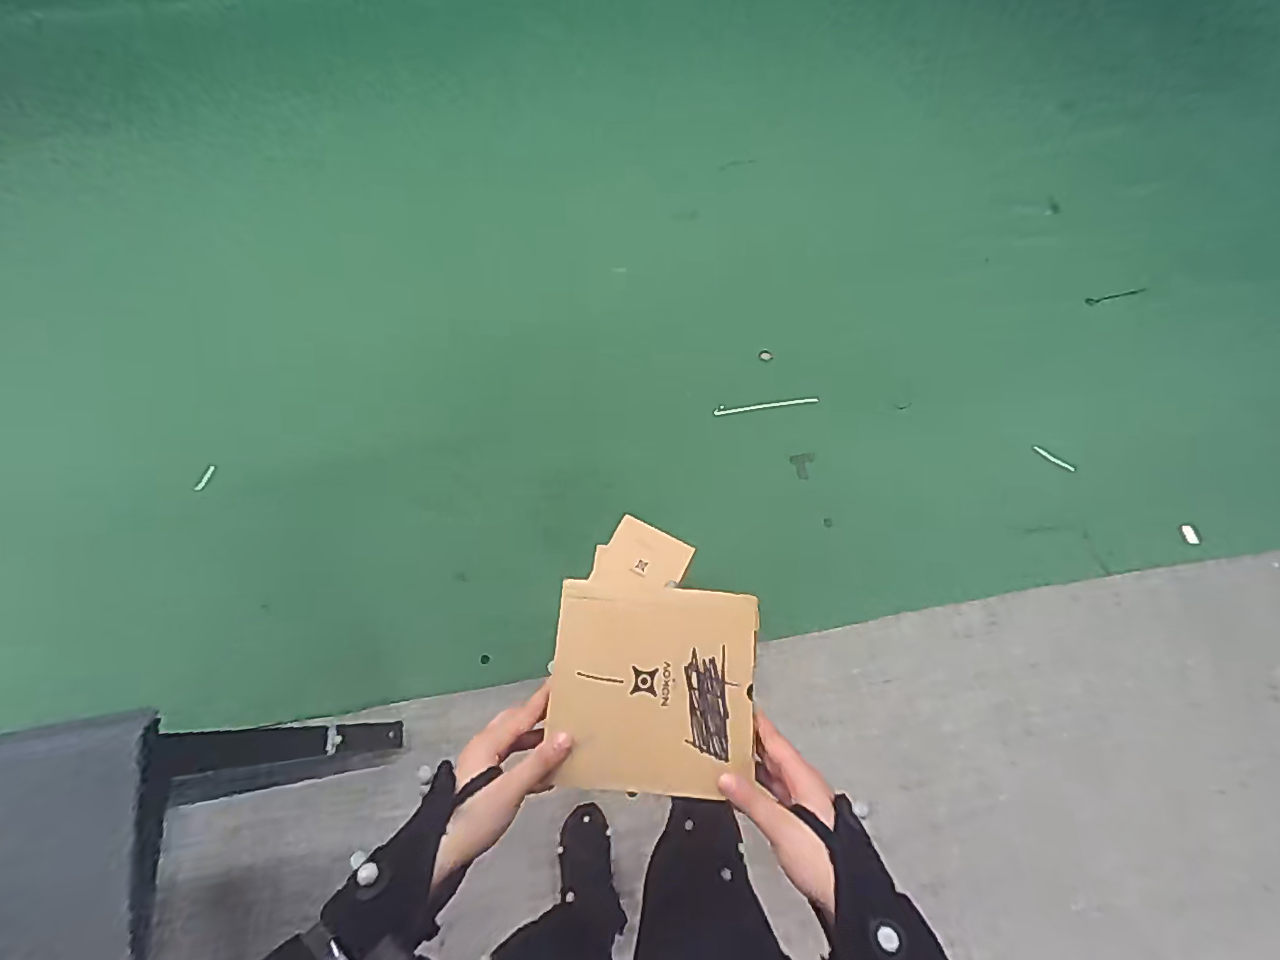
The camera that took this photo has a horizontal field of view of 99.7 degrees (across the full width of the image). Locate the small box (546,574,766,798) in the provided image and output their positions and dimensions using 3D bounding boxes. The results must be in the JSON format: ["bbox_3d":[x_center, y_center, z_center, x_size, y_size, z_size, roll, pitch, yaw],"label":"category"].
[{"bbox_3d":[0.015,0.194,0.529,0.179,0.176,0.168,5,70,-1],"label":"small box"}]

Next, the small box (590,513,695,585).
[{"bbox_3d":[0.001,0.203,1.153,0.168,0.176,0.179,26,69,9],"label":"small box"}]
